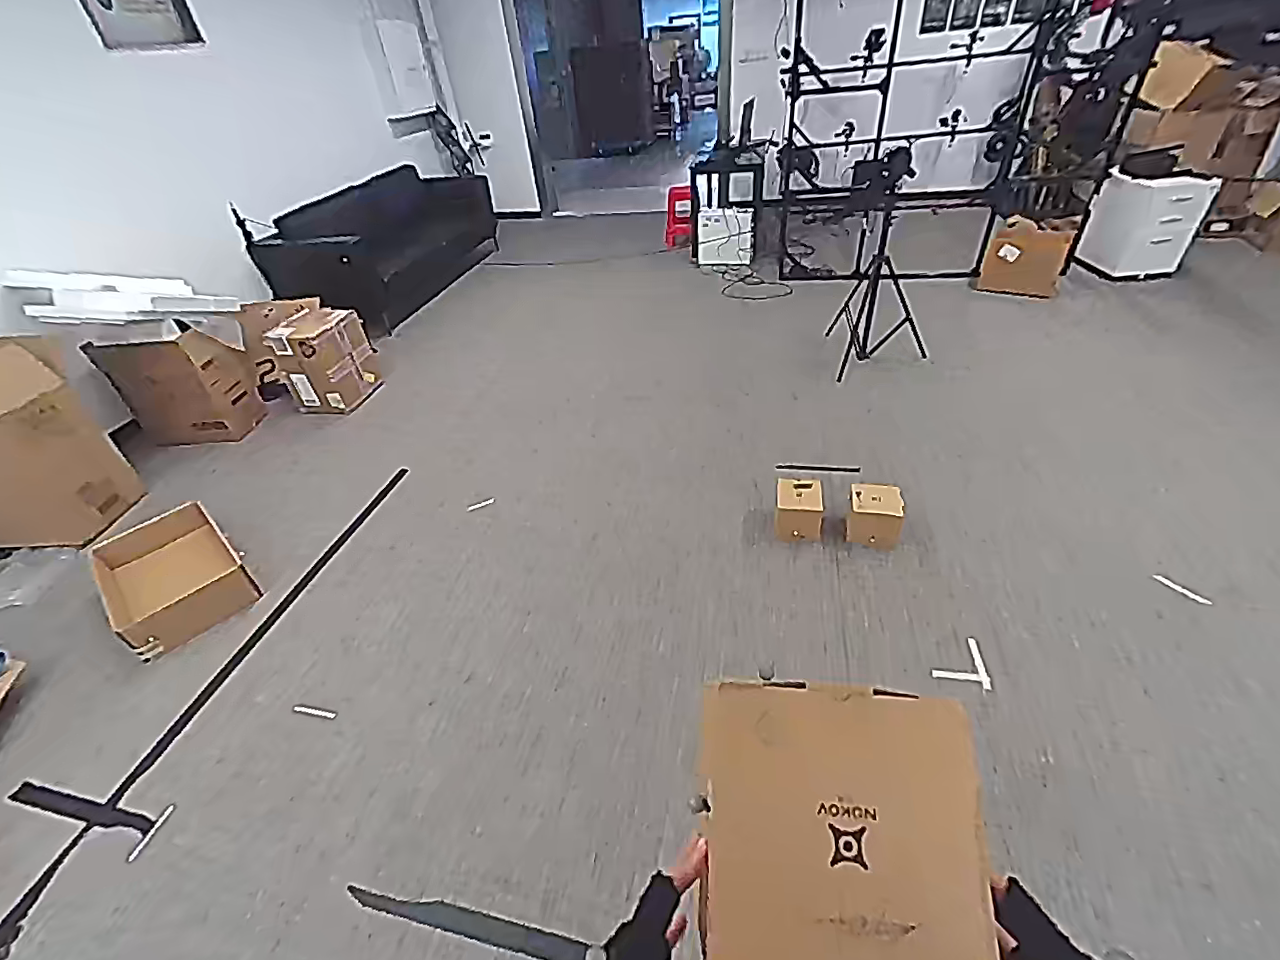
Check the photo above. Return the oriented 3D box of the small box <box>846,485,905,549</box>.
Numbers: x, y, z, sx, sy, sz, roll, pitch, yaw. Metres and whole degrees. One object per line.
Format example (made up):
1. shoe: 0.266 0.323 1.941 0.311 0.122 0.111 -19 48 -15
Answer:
1. small box: 0.891 0.144 2.057 0.179 0.176 0.168 6 40 14

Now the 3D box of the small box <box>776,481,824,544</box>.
1. small box: 0.622 0.125 2.118 0.168 0.176 0.179 3 40 12

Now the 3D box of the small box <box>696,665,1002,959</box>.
1. small box: 0.131 0.240 0.405 0.168 0.176 0.179 4 70 4
